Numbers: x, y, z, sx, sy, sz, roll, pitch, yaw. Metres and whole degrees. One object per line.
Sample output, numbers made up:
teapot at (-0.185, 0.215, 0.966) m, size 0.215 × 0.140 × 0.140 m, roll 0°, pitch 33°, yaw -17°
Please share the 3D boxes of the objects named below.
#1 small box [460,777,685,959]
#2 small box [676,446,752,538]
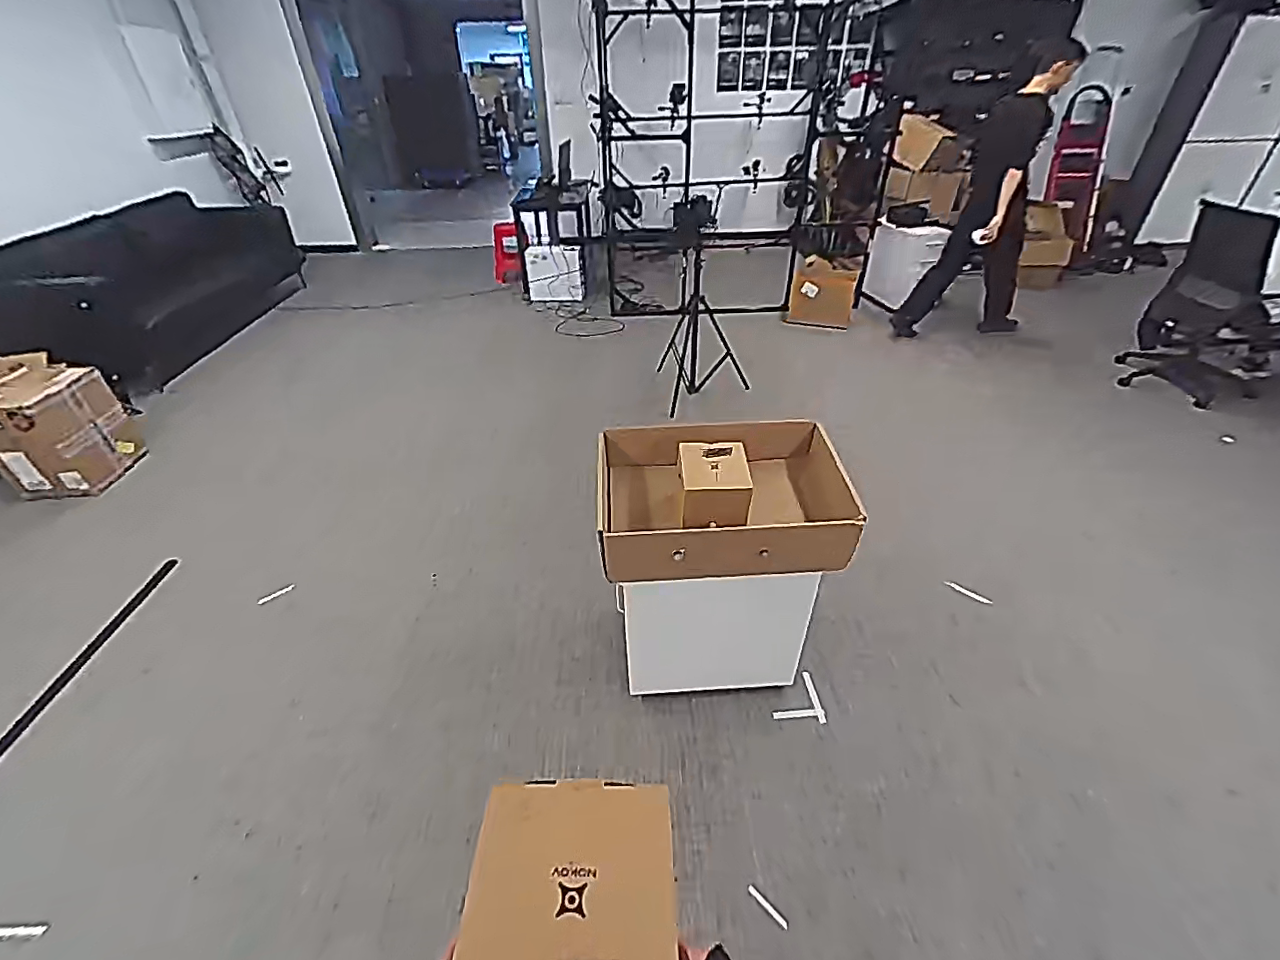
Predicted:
small box at (-0.055, 0.390, 0.469) m, size 0.168 × 0.176 × 0.179 m, roll 2°, pitch 33°, yaw -3°
small box at (0.183, 0.031, 1.388) m, size 0.168 × 0.176 × 0.179 m, roll -2°, pitch 42°, yaw -1°
